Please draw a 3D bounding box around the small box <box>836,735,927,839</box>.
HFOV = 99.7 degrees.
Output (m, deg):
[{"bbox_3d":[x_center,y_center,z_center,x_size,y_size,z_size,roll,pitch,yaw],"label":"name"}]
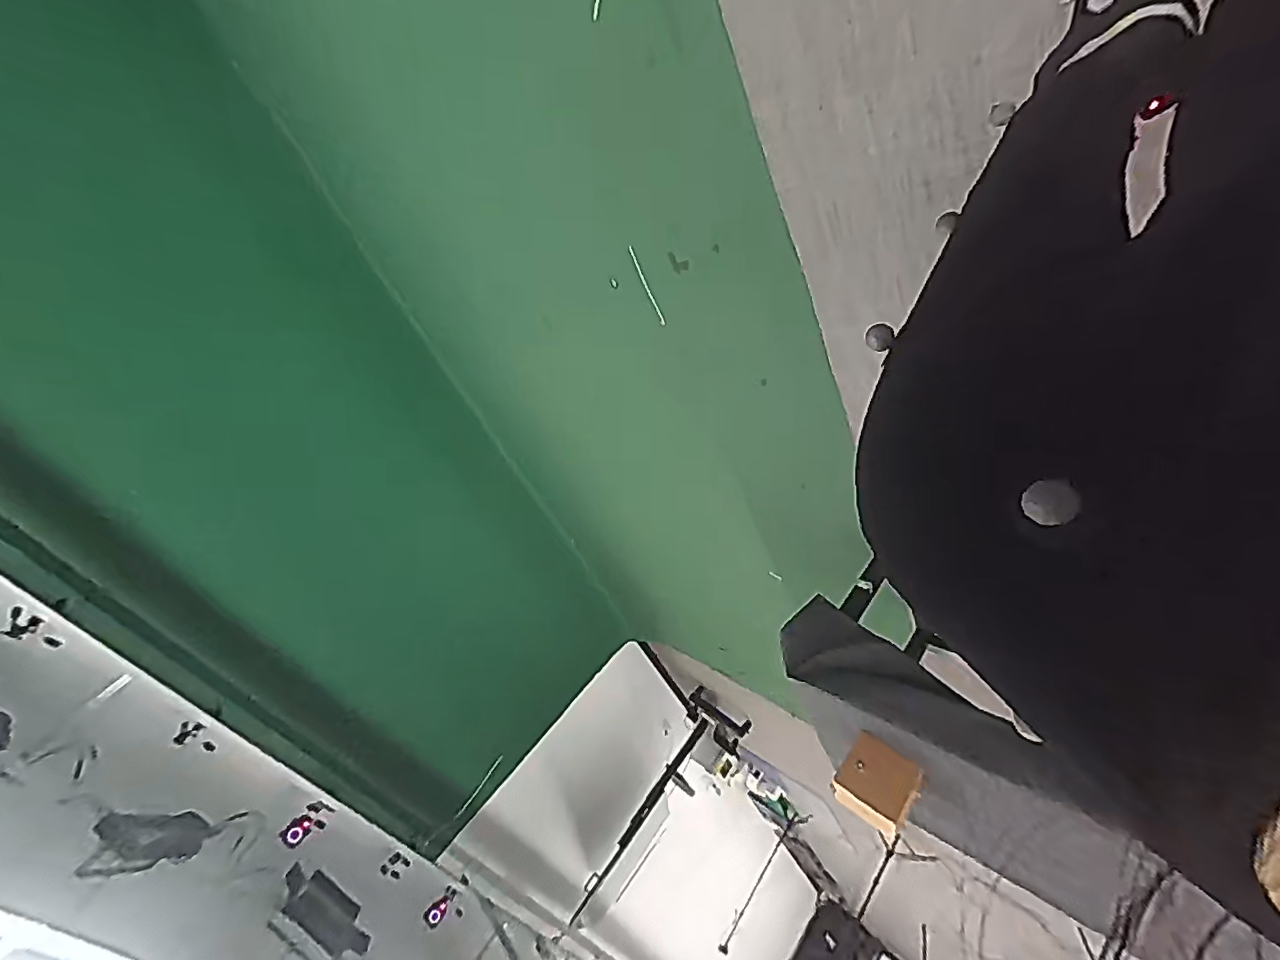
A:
[{"bbox_3d":[0.664,0.836,1.493,0.179,0.176,0.168,22,148,38],"label":"small box"}]
